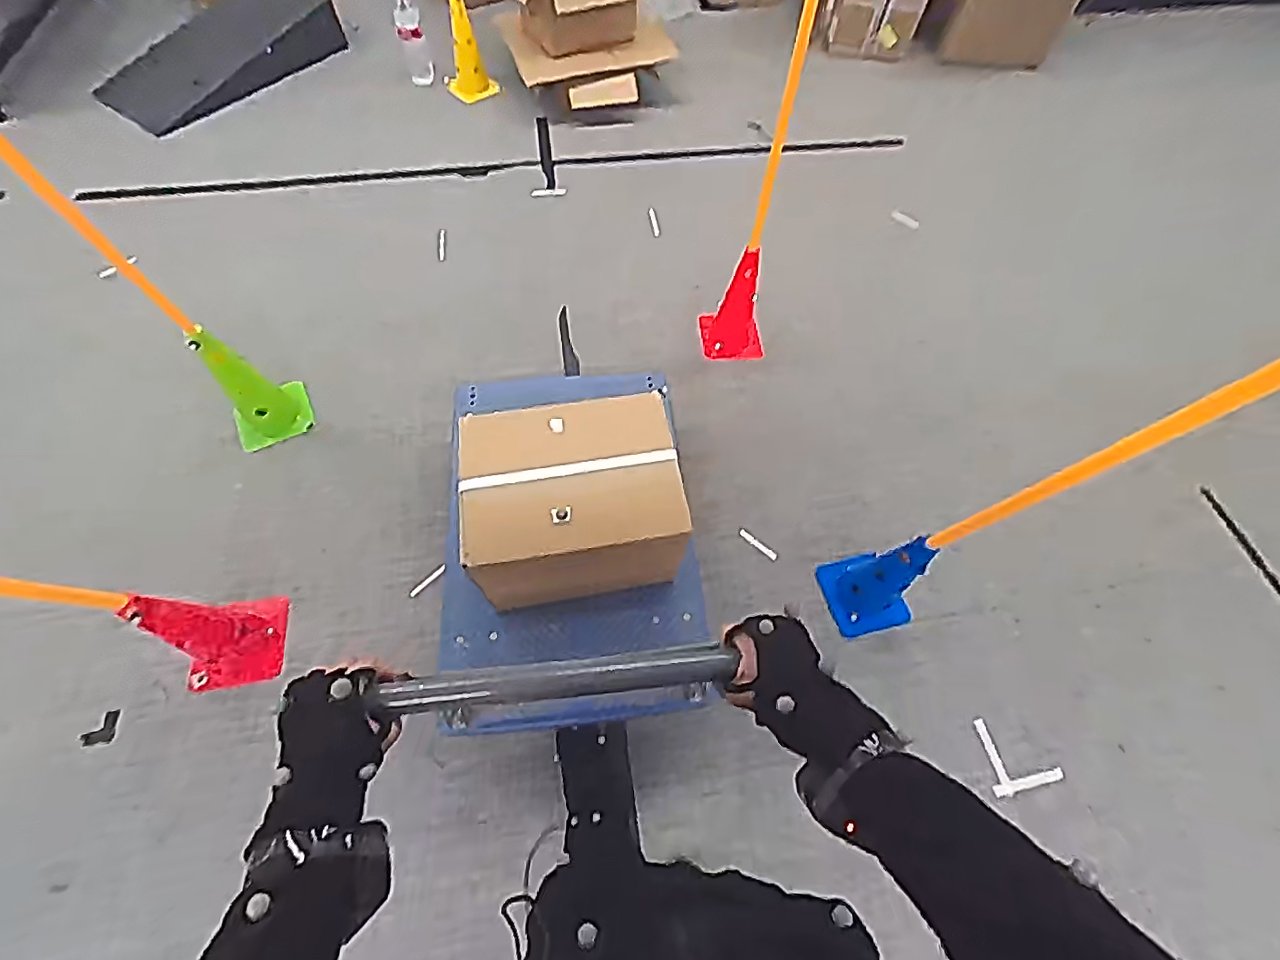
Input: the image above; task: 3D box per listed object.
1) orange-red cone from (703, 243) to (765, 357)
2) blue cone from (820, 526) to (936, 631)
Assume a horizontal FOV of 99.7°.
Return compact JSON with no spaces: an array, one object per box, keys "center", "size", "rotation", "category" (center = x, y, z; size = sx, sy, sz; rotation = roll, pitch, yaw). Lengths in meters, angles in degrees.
[{"center":[0.322,-0.568,1.661],"size":[0.199,0.360,0.198],"rotation":[-1,62,-4],"category":"orange-red cone"},{"center":[0.591,0.210,1.271],"size":[0.193,0.380,0.192],"rotation":[-10,62,-9],"category":"blue cone"}]
